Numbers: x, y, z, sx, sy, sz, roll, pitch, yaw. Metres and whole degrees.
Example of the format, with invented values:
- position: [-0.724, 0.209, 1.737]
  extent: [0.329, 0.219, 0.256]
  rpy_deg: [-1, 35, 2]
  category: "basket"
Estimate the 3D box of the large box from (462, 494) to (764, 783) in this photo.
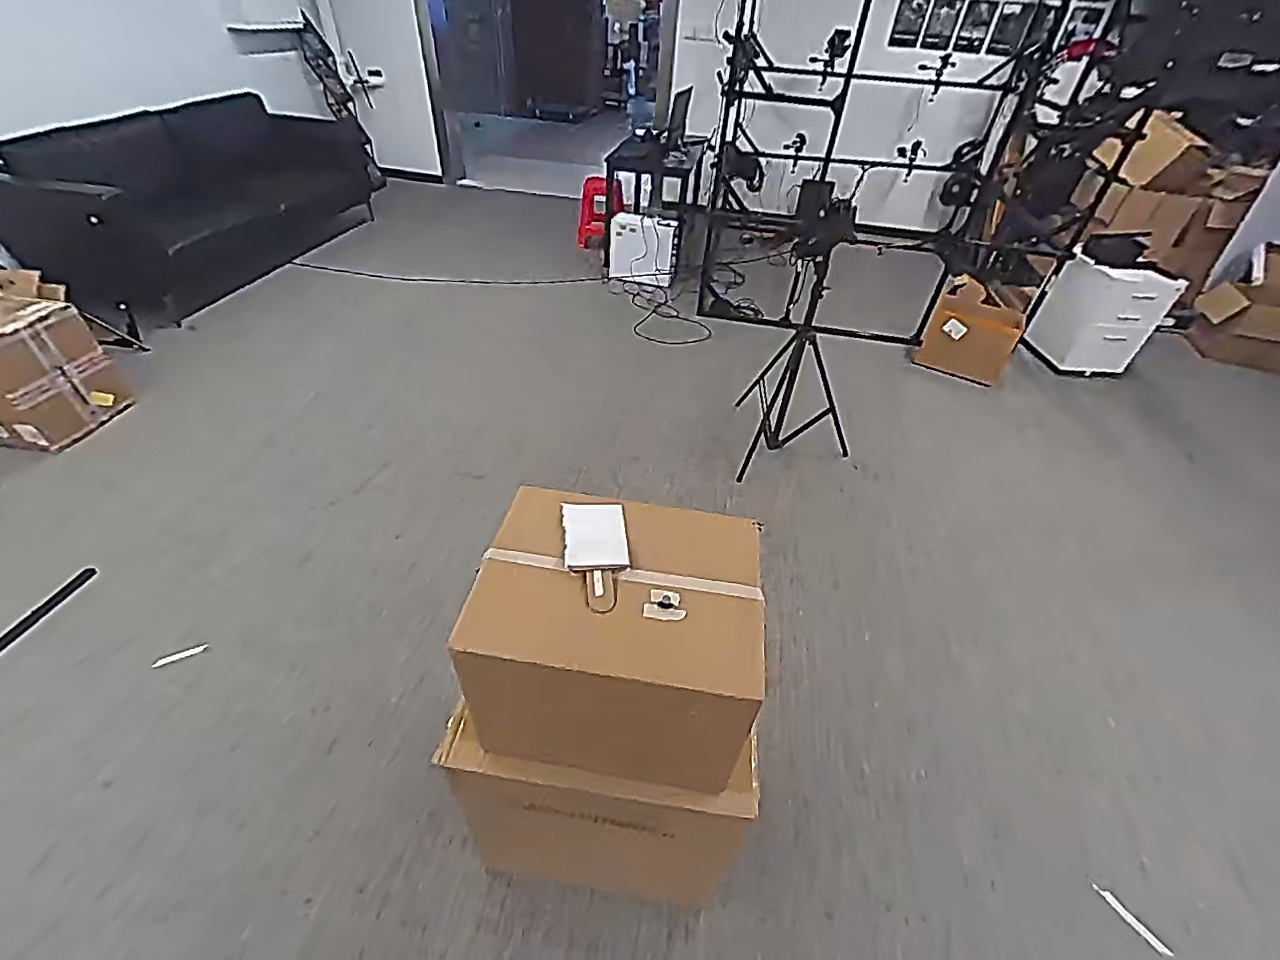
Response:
- position: [-0.032, 0.259, 0.901]
  extent: [0.408, 0.320, 0.320]
  rpy_deg: [8, 42, 3]
  category: "large box"
